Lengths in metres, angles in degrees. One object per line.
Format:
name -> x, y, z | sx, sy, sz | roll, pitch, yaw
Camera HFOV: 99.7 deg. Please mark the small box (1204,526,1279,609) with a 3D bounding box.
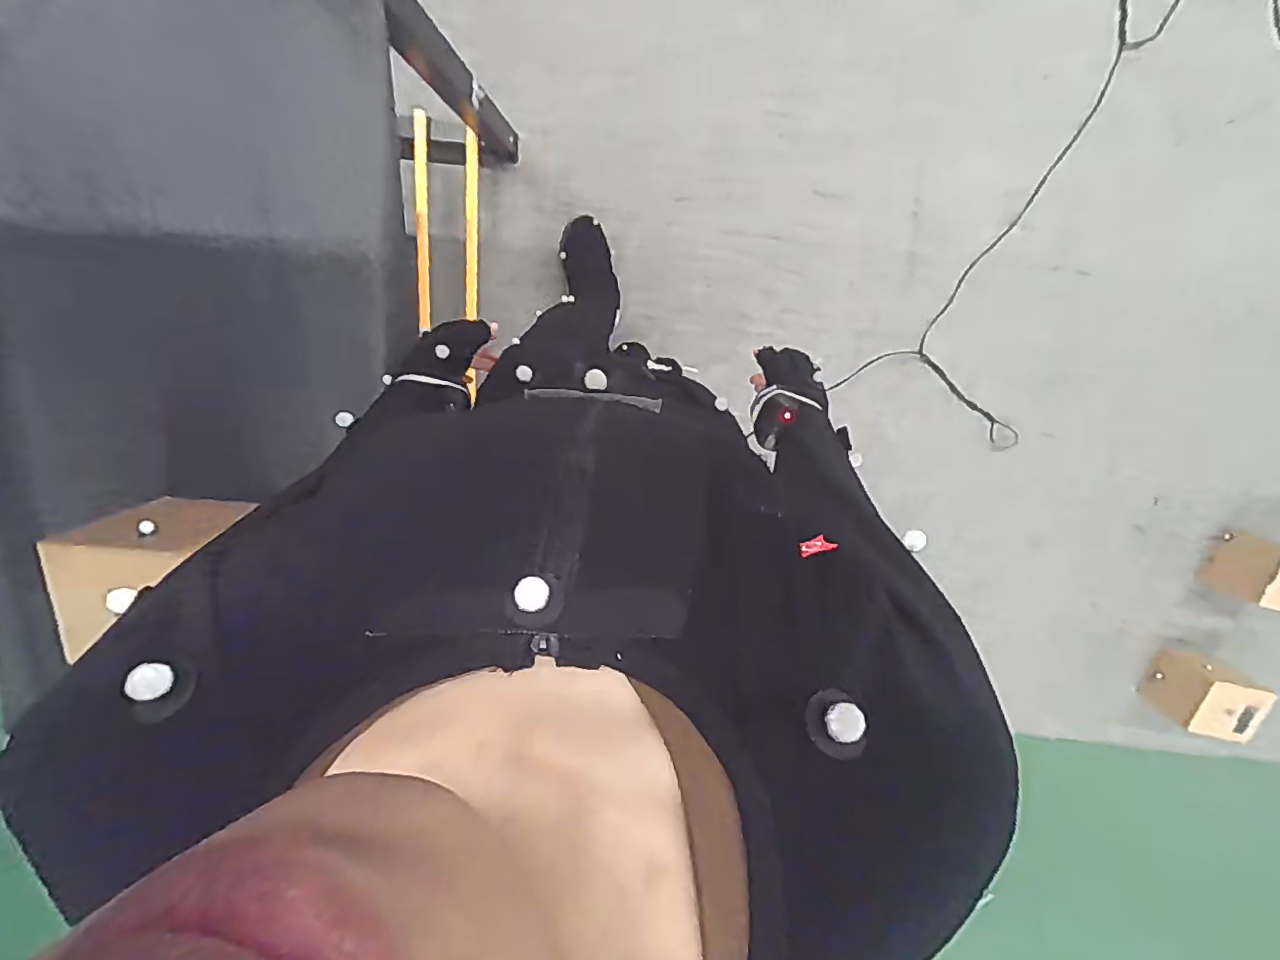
small box -> 1.655, 0.234, 1.405 | 0.179, 0.176, 0.168 | 13, 107, -2
